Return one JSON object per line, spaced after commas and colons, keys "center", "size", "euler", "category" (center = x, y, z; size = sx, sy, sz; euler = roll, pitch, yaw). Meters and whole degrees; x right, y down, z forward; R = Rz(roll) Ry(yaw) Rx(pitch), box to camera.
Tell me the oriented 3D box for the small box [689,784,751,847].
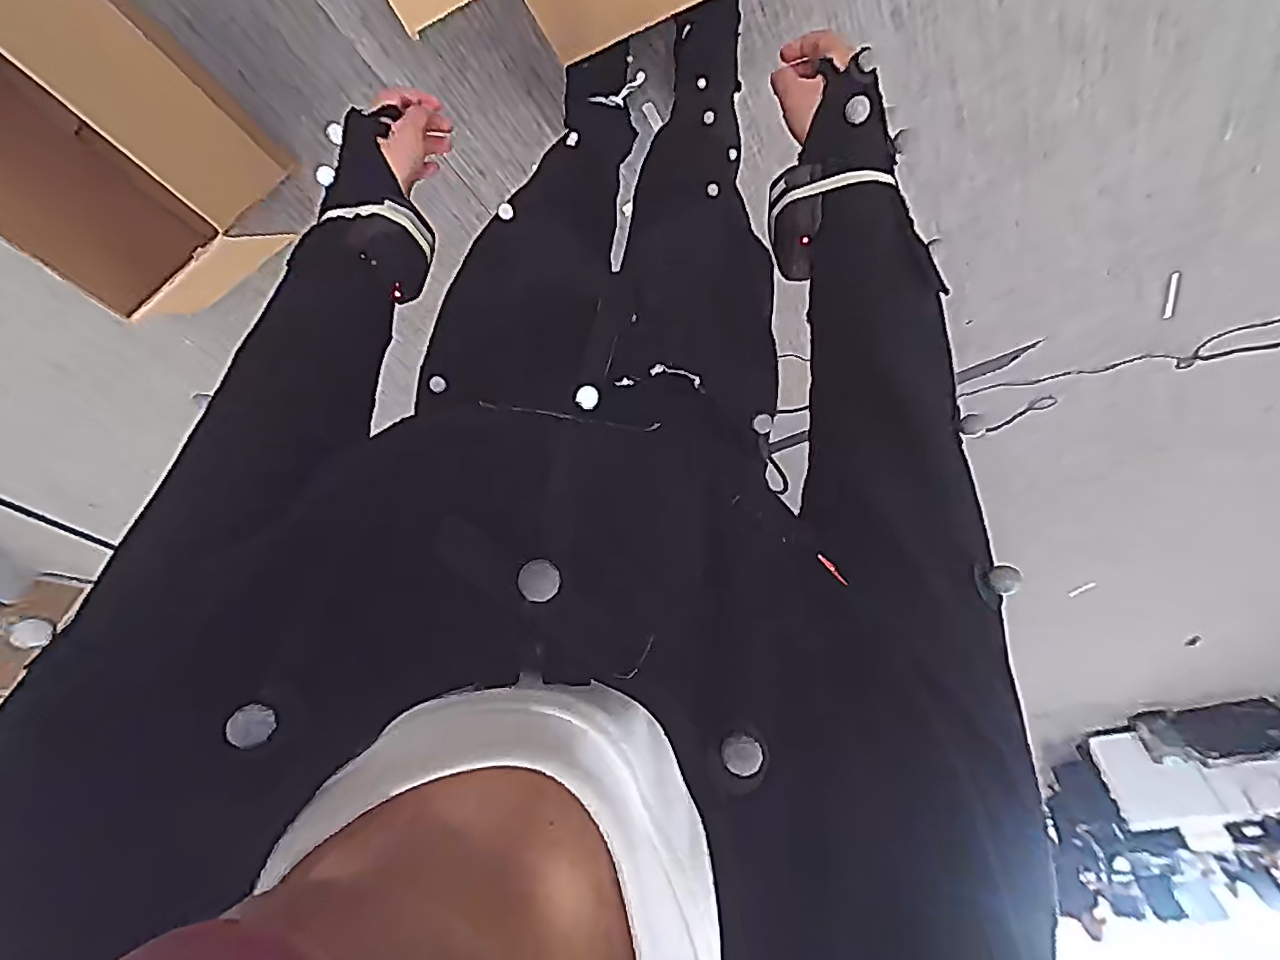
{"center": [0.290, 1.244, 2.001], "size": [0.179, 0.176, 0.168], "euler": [-22, 137, 20], "category": "small box"}
